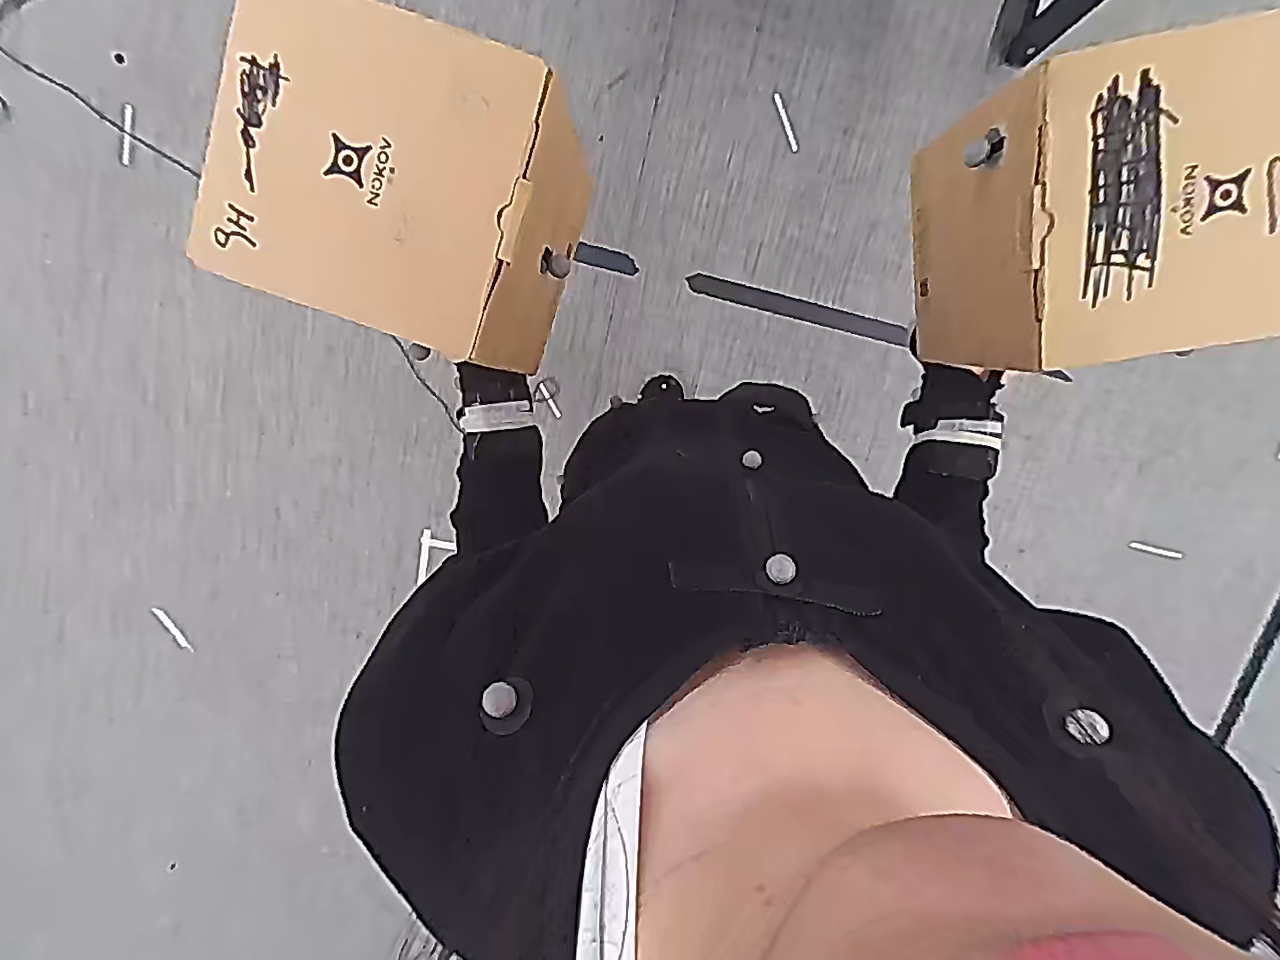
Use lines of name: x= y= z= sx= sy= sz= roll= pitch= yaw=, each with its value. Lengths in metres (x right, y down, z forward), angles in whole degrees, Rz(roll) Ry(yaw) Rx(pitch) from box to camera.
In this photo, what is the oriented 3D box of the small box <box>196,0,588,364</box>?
small box: x=-0.146 y=-0.186 z=0.379 sx=0.179 sy=0.176 sz=0.168 roll=19 pitch=98 yaw=-2
